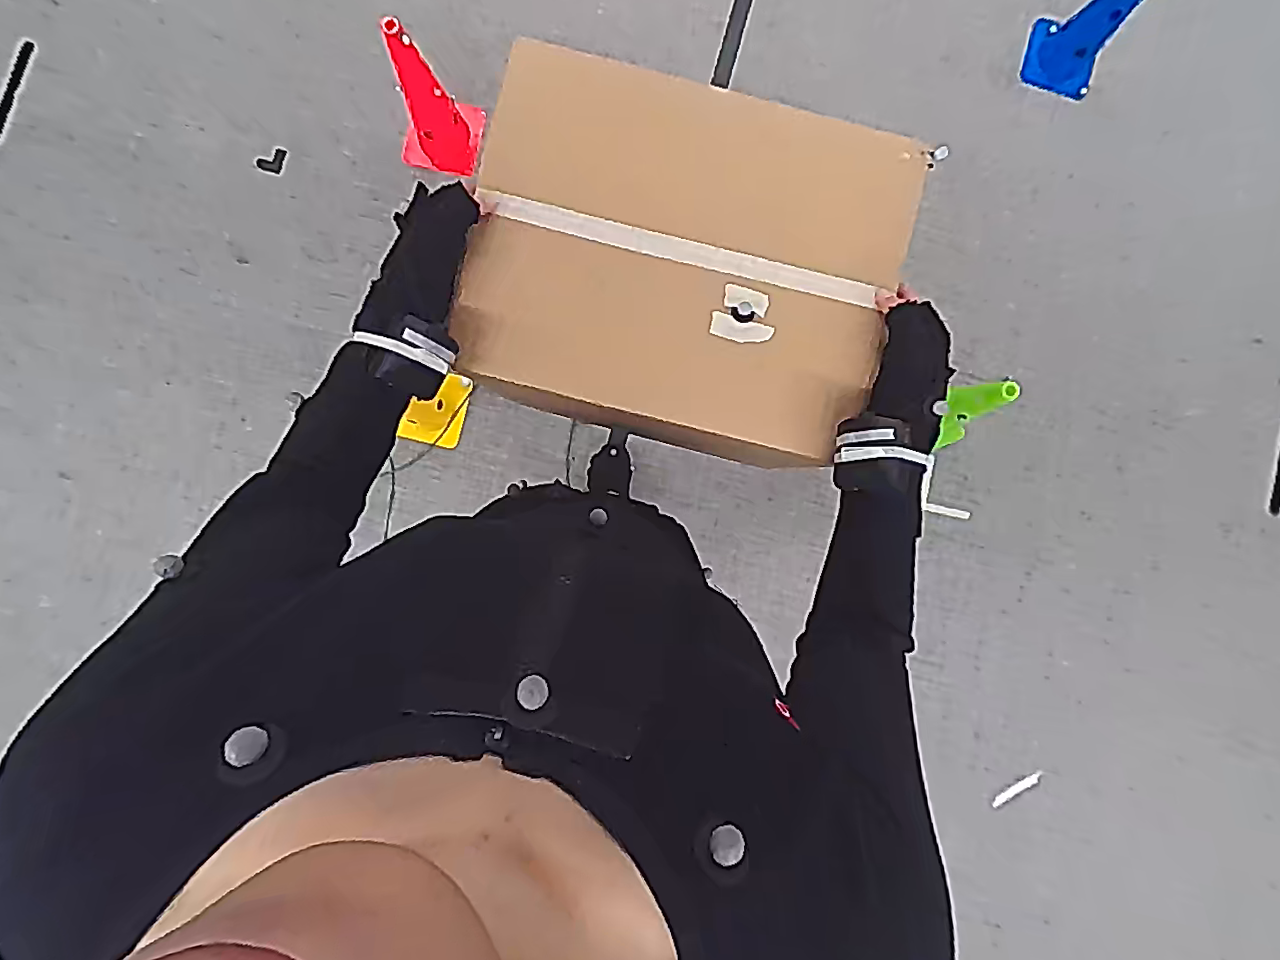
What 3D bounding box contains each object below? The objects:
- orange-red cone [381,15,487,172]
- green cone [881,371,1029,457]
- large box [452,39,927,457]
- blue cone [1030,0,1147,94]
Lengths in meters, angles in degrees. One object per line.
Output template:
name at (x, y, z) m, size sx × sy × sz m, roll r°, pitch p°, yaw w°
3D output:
orange-red cone at (-0.531, -0.962, 1.321) m, size 0.198 × 0.360 × 0.199 m, roll 13°, pitch 89°, yaw 0°
green cone at (0.798, -0.189, 1.330) m, size 0.202 × 0.368 × 0.200 m, roll -22°, pitch 89°, yaw -4°
large box at (0.043, -0.225, 0.659) m, size 0.408 × 0.320 × 0.320 m, roll 14°, pitch 91°, yaw -1°
blue cone at (1.236, -1.230, 1.398) m, size 0.192 × 0.380 × 0.193 m, roll 18°, pitch 88°, yaw -2°
